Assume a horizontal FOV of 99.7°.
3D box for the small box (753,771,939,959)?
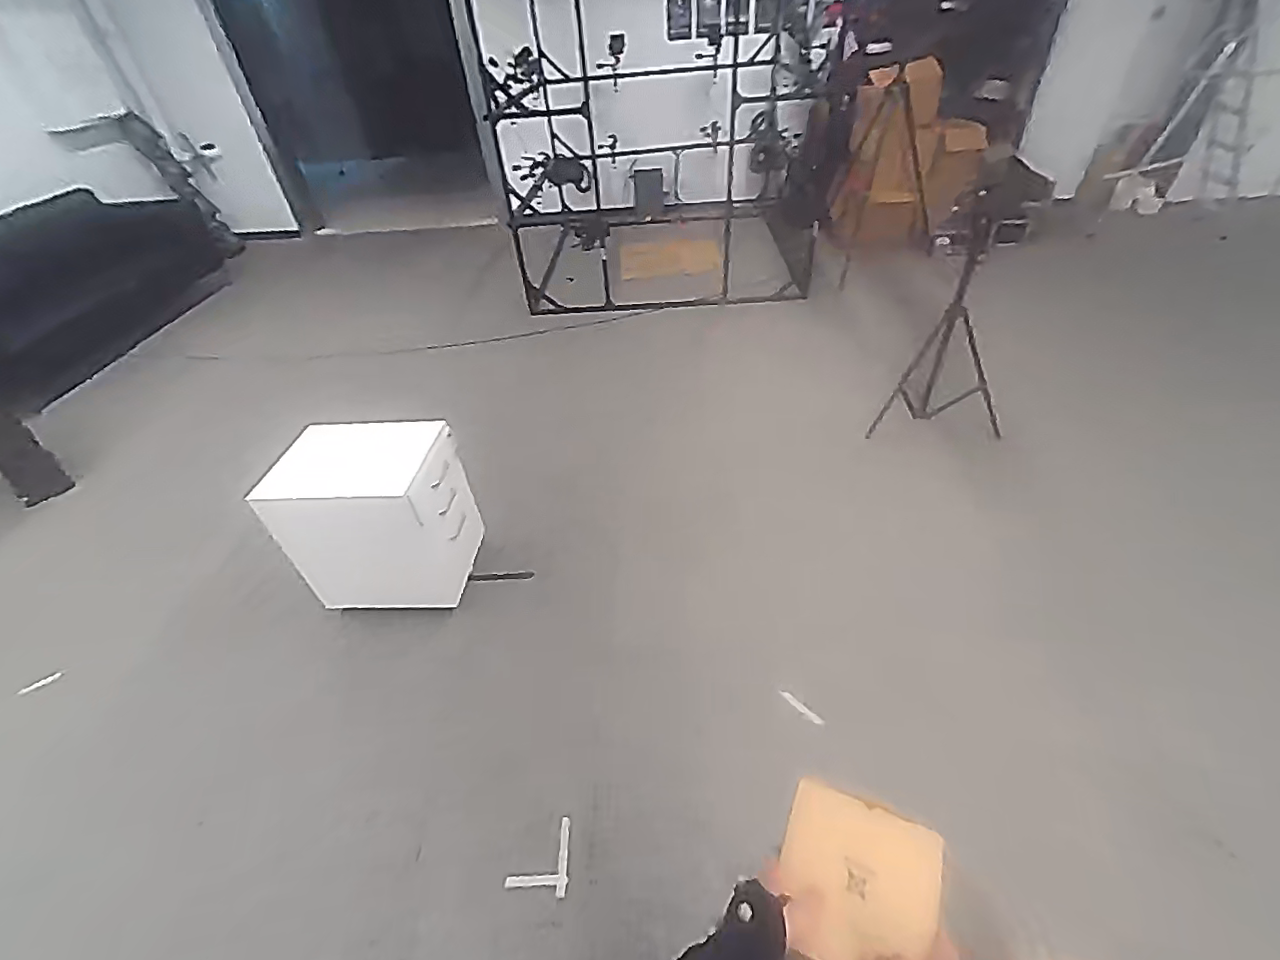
[{"bbox_3d":[0.240,0.499,0.650,0.168,0.176,0.179,15,46,22],"label":"small box"}]
